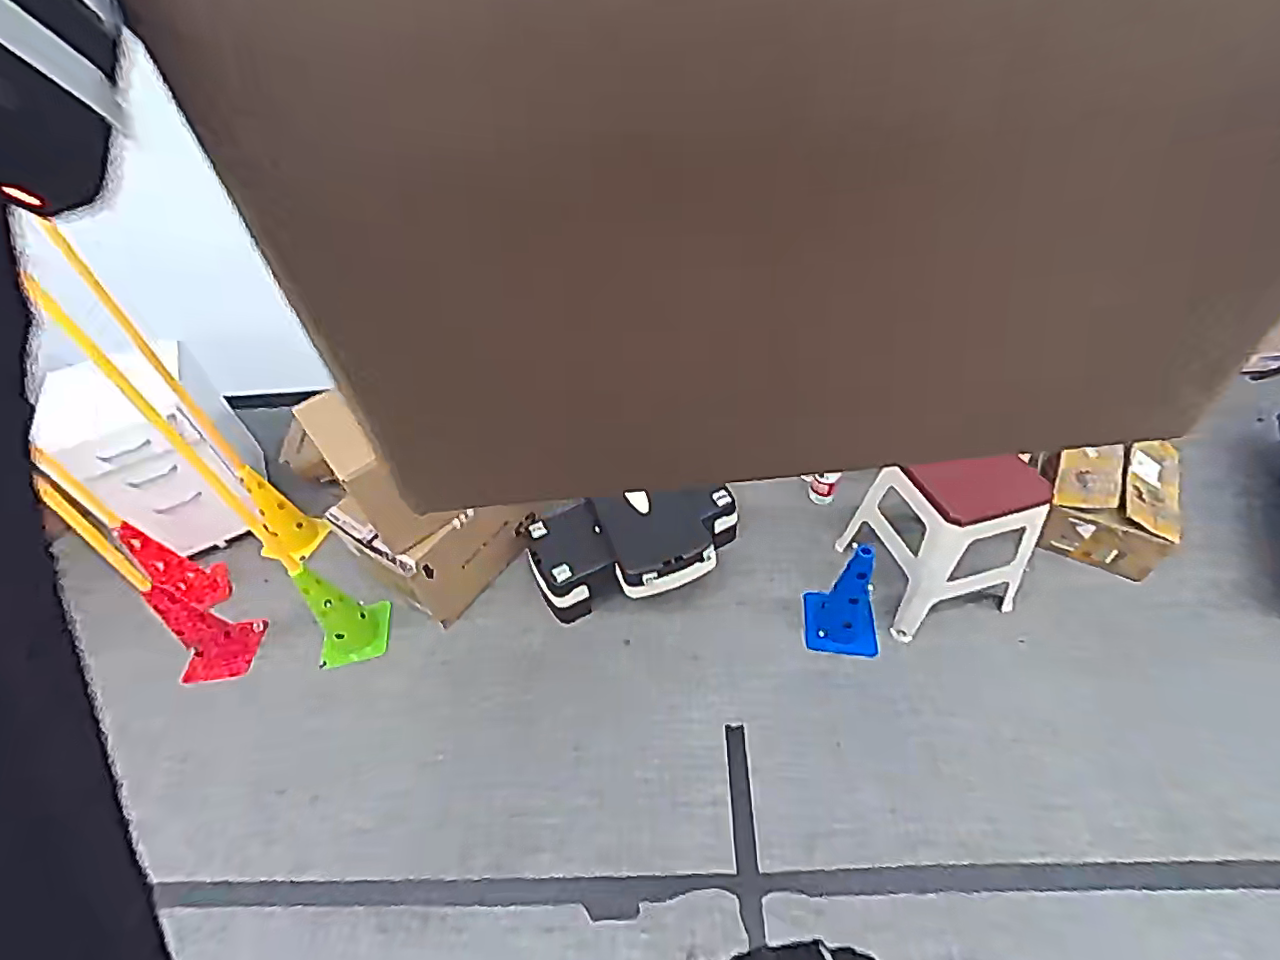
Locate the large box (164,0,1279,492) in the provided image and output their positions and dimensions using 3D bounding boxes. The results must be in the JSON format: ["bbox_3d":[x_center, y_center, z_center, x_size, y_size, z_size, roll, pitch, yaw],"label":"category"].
[{"bbox_3d":[0.053,-0.221,0.288,0.408,0.320,0.320,-6,44,0],"label":"large box"}]
